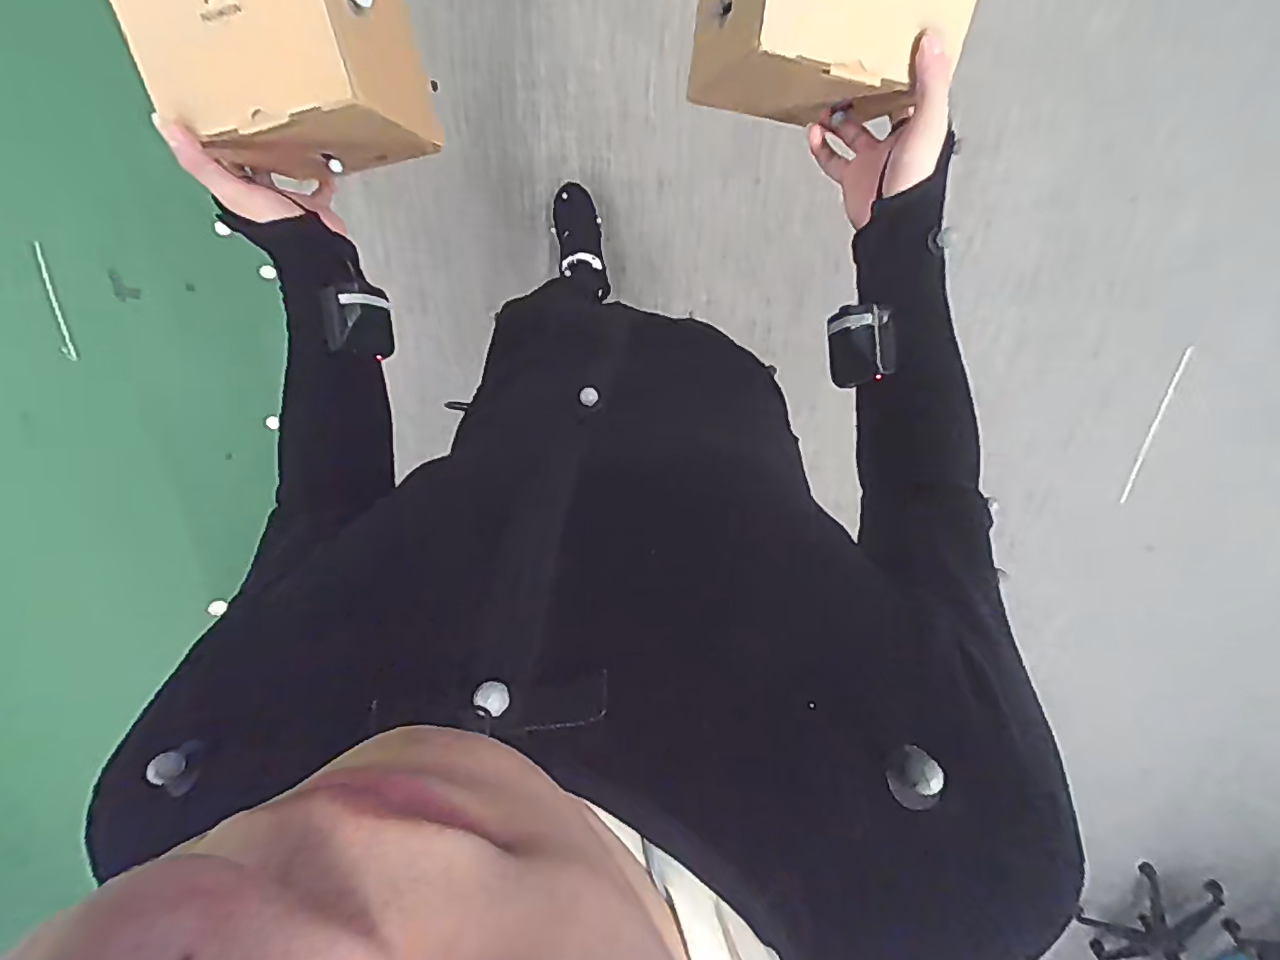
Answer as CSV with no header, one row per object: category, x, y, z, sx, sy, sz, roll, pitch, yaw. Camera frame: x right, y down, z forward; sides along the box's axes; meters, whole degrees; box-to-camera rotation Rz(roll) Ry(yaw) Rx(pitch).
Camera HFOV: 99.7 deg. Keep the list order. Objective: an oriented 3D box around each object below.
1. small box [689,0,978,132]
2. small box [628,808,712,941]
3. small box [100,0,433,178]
small box,0.149,-0.402,0.430,0.168,0.176,0.179,3,112,-17
small box,0.060,0.835,1.151,0.168,0.176,0.179,-1,113,0
small box,-0.306,-0.382,0.462,0.168,0.176,0.179,-8,110,6
